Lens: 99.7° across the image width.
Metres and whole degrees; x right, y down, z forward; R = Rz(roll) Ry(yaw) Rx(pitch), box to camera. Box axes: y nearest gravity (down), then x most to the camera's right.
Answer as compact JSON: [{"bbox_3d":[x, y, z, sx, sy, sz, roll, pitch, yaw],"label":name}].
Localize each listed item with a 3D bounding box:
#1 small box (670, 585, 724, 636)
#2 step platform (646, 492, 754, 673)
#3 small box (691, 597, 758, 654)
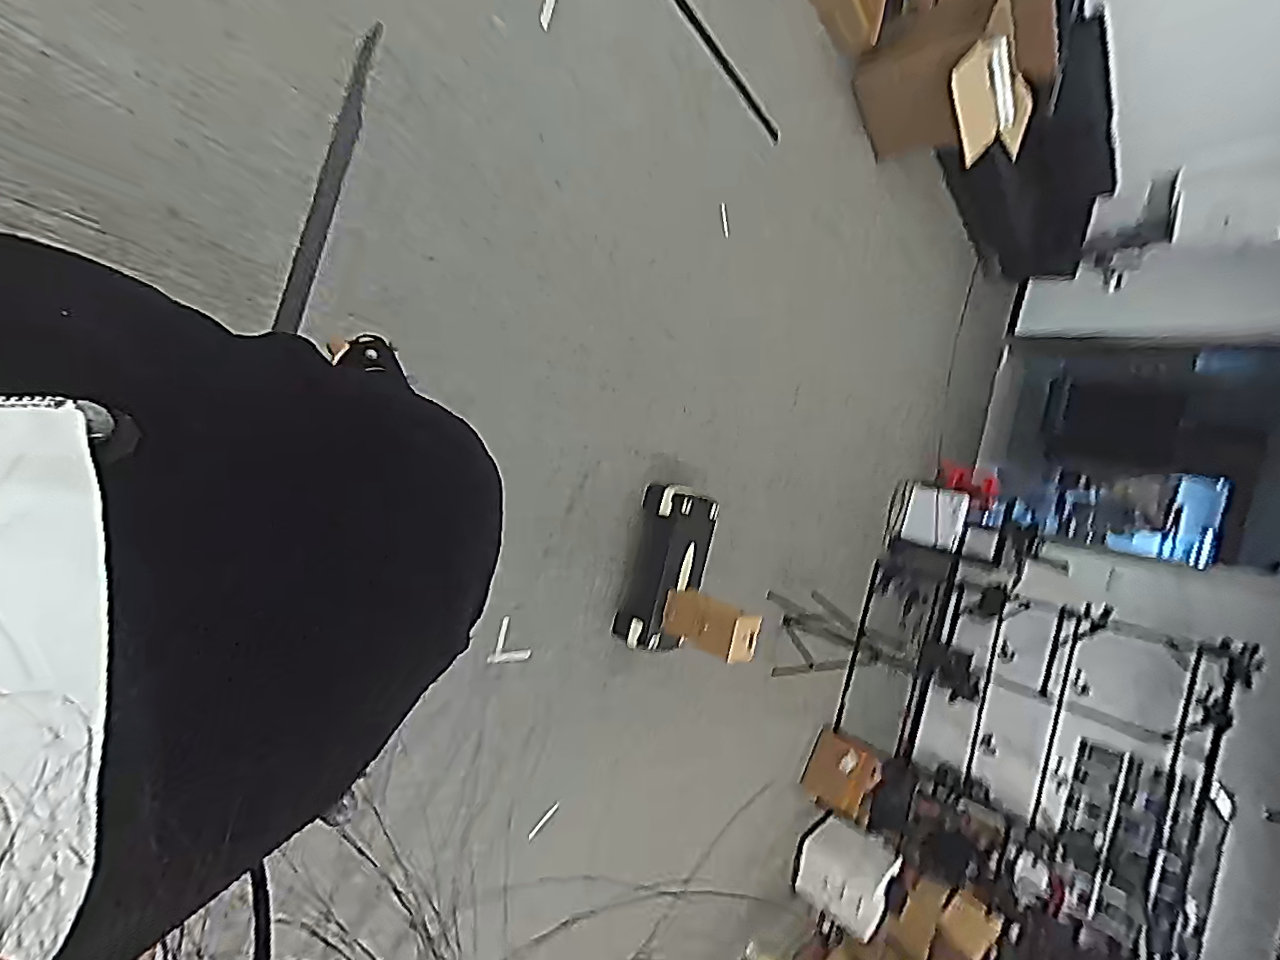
[{"bbox_3d":[0.208,0.519,2.191,0.179,0.176,0.168,12,90,-47],"label":"small box"},{"bbox_3d":[0.239,0.391,2.141,0.286,0.204,0.684,14,90,-48],"label":"step platform"},{"bbox_3d":[0.325,0.555,2.082,0.179,0.176,0.168,12,90,-46],"label":"small box"}]
